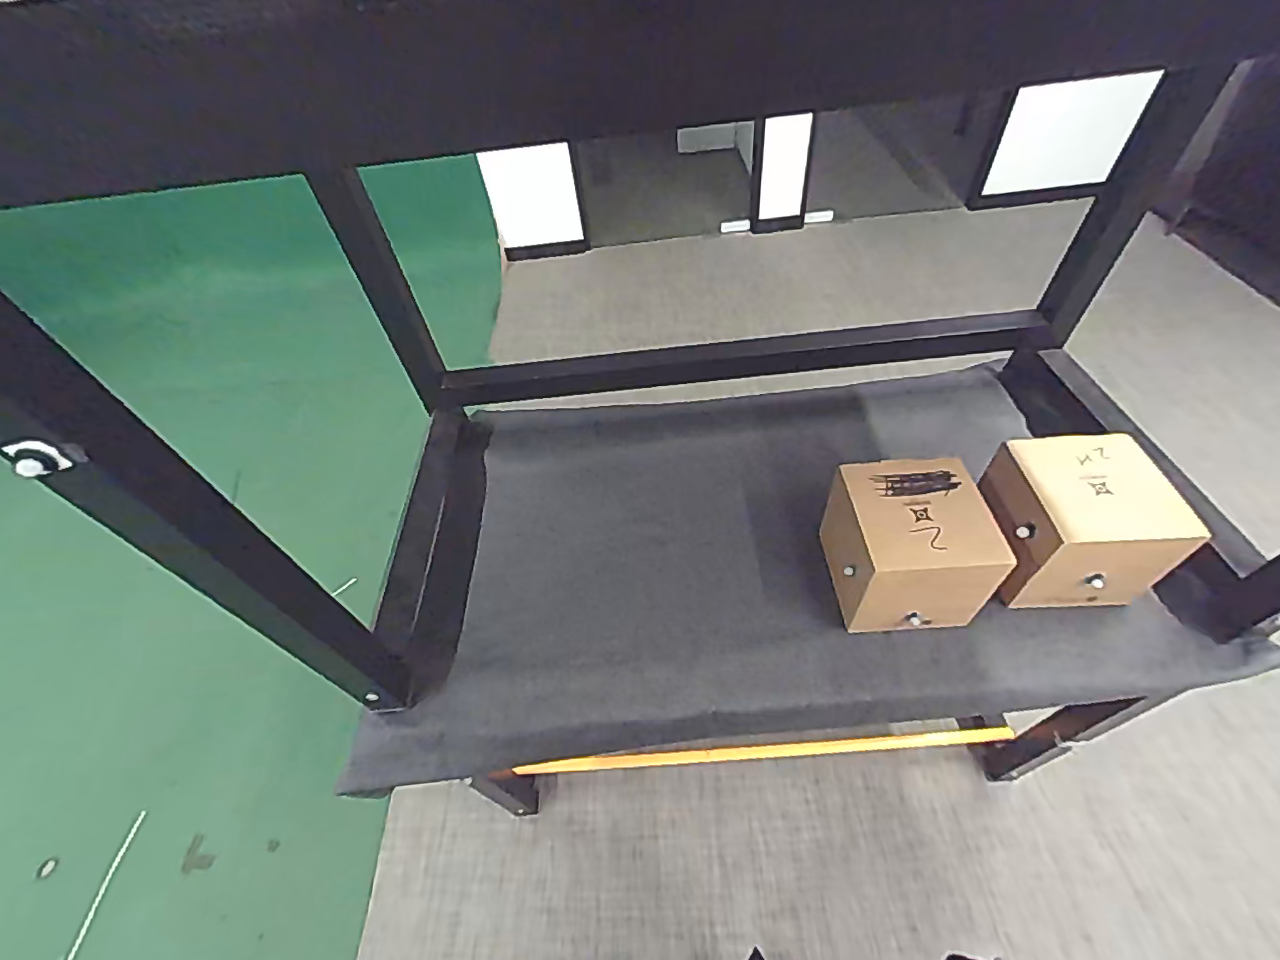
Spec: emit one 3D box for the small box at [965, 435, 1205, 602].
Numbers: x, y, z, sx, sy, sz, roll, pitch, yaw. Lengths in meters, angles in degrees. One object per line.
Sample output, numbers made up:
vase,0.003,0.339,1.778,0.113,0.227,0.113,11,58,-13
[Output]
small box,0.594,0.059,0.755,0.168,0.176,0.179,-3,49,5
